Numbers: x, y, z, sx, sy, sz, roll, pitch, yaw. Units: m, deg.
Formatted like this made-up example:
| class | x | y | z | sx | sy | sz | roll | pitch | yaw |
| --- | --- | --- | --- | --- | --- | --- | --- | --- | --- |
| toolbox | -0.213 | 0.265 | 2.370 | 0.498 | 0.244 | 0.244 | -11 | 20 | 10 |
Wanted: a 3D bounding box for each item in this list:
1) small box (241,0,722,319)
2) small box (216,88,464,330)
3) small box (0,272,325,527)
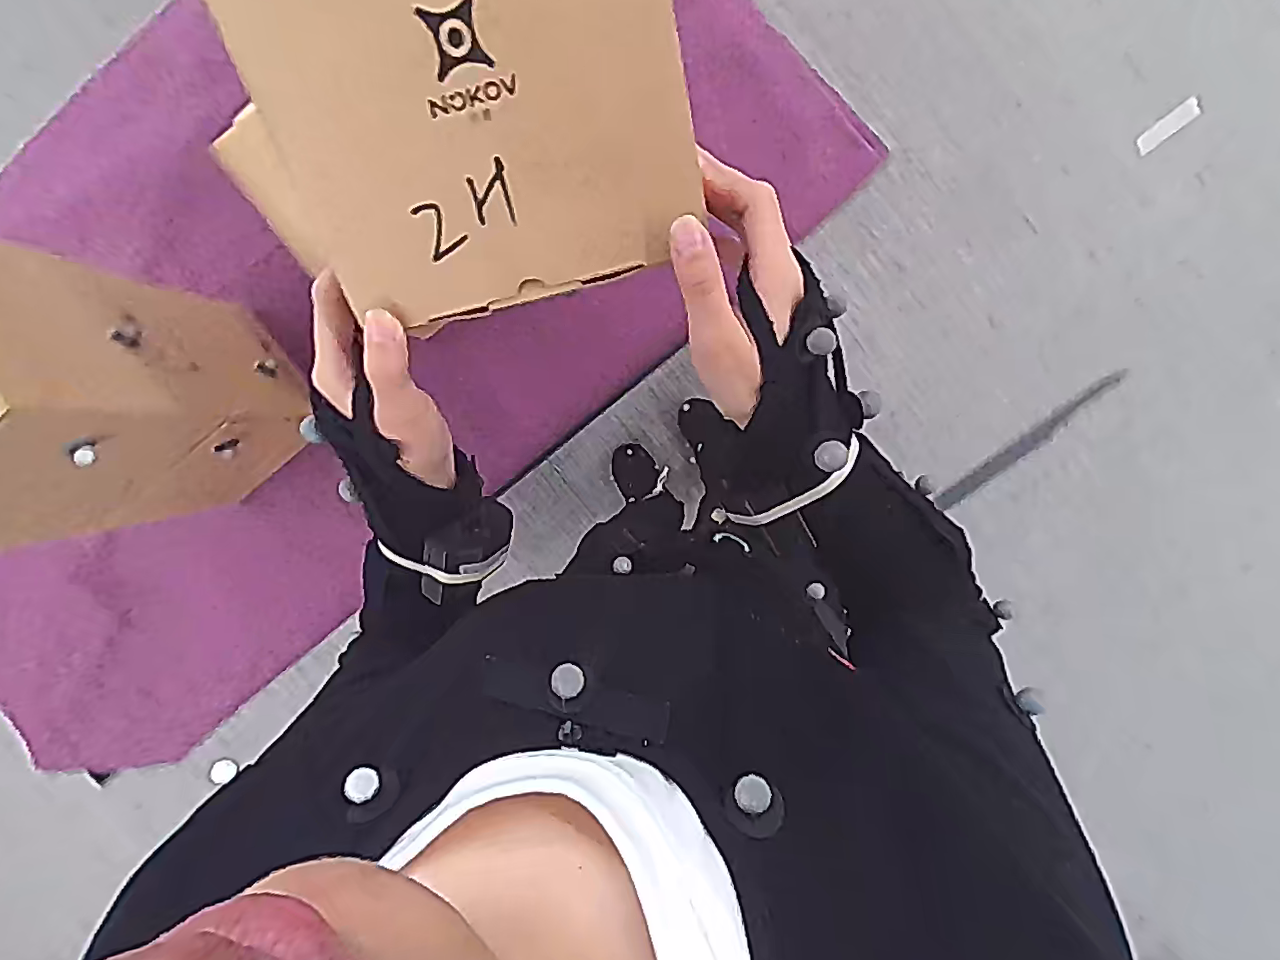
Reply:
| class | x | y | z | sx | sy | sz | roll | pitch | yaw |
| --- | --- | --- | --- | --- | --- | --- | --- | --- | --- |
| small box | -0.061 | -0.197 | 0.276 | 0.168 | 0.176 | 0.179 | -11 | 116 | 5 |
| small box | -0.242 | -0.273 | 0.534 | 0.168 | 0.176 | 0.179 | -37 | 94 | 6 |
| small box | -0.485 | -0.077 | 0.568 | 0.179 | 0.176 | 0.168 | -38 | 94 | 5 |
